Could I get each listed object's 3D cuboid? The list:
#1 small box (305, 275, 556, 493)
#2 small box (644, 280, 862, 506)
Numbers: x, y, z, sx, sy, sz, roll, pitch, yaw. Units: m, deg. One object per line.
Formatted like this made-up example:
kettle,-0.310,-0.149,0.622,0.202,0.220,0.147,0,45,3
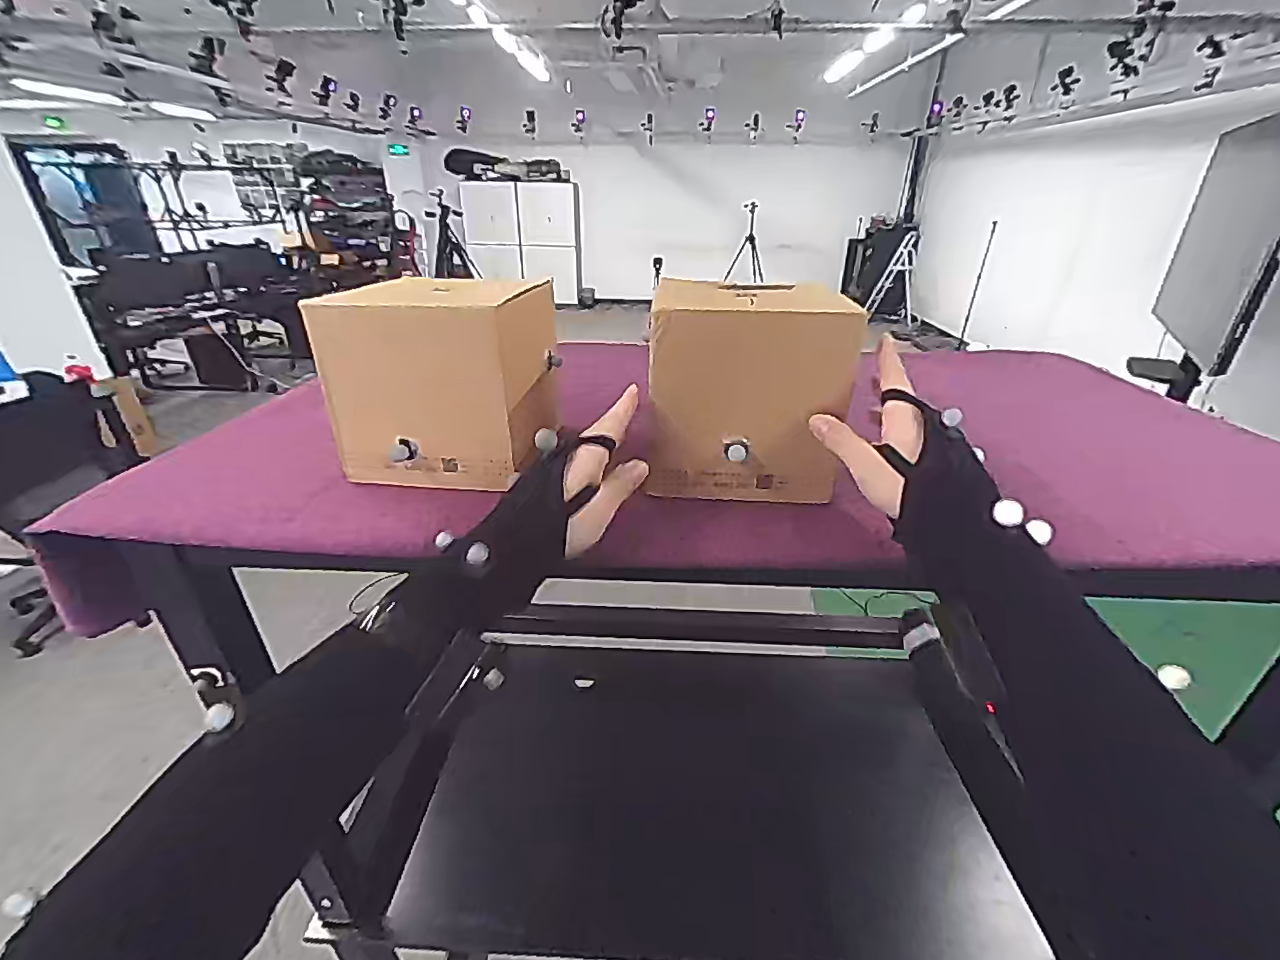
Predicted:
small box,-0.184,-0.104,0.538,0.168,0.176,0.179,3,28,6
small box,0.093,-0.092,0.521,0.168,0.176,0.179,2,27,4
